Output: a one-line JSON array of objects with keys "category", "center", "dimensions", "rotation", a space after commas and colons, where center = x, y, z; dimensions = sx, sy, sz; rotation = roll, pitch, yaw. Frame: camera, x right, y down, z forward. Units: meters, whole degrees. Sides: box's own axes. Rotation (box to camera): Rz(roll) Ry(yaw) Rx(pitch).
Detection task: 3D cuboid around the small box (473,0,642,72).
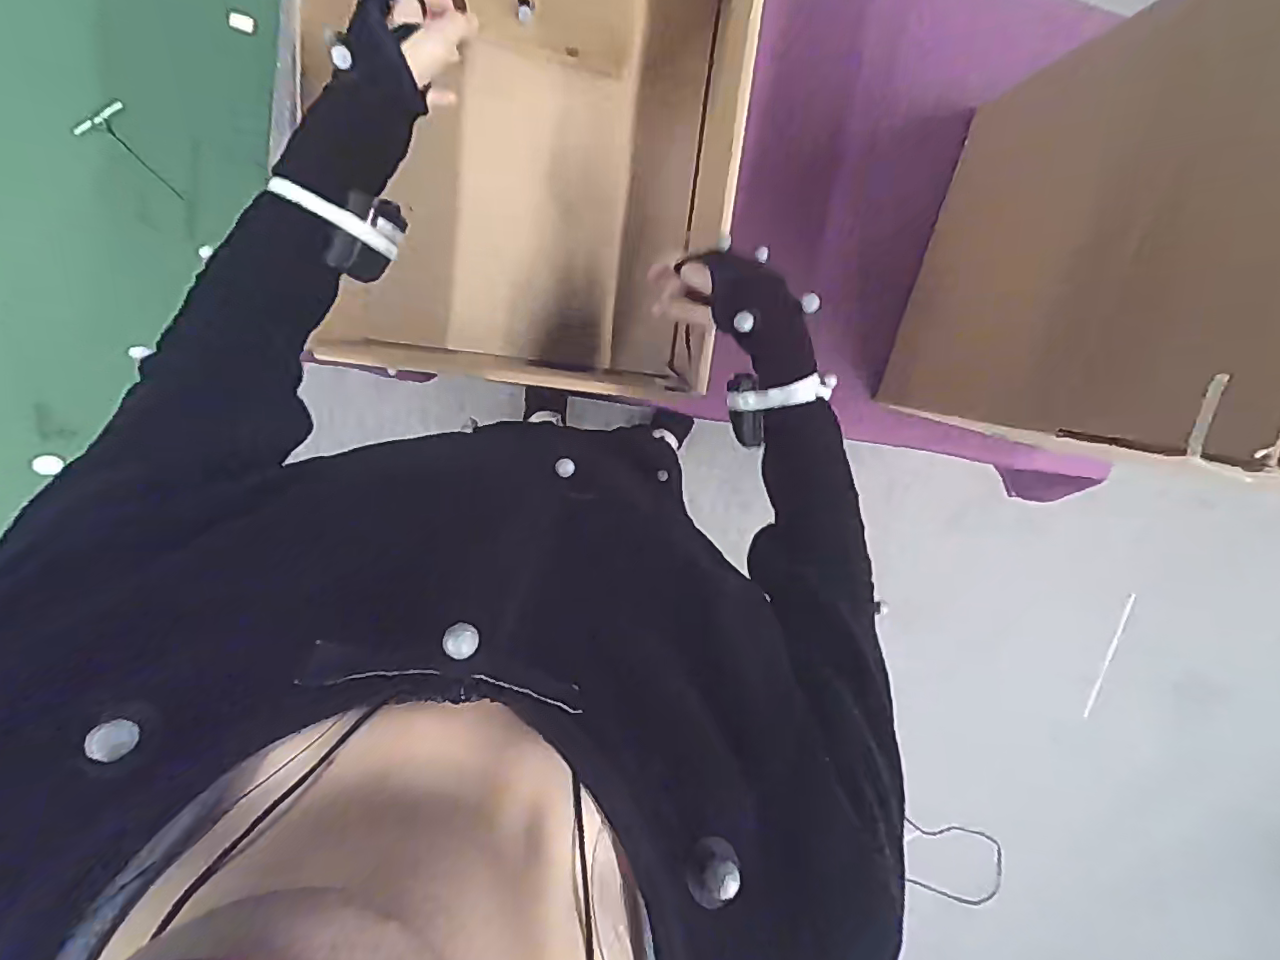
[{"category": "small box", "center": [-0.070, -0.527, 0.503], "dimensions": [0.168, 0.176, 0.179], "rotation": [9, 103, -8]}]
